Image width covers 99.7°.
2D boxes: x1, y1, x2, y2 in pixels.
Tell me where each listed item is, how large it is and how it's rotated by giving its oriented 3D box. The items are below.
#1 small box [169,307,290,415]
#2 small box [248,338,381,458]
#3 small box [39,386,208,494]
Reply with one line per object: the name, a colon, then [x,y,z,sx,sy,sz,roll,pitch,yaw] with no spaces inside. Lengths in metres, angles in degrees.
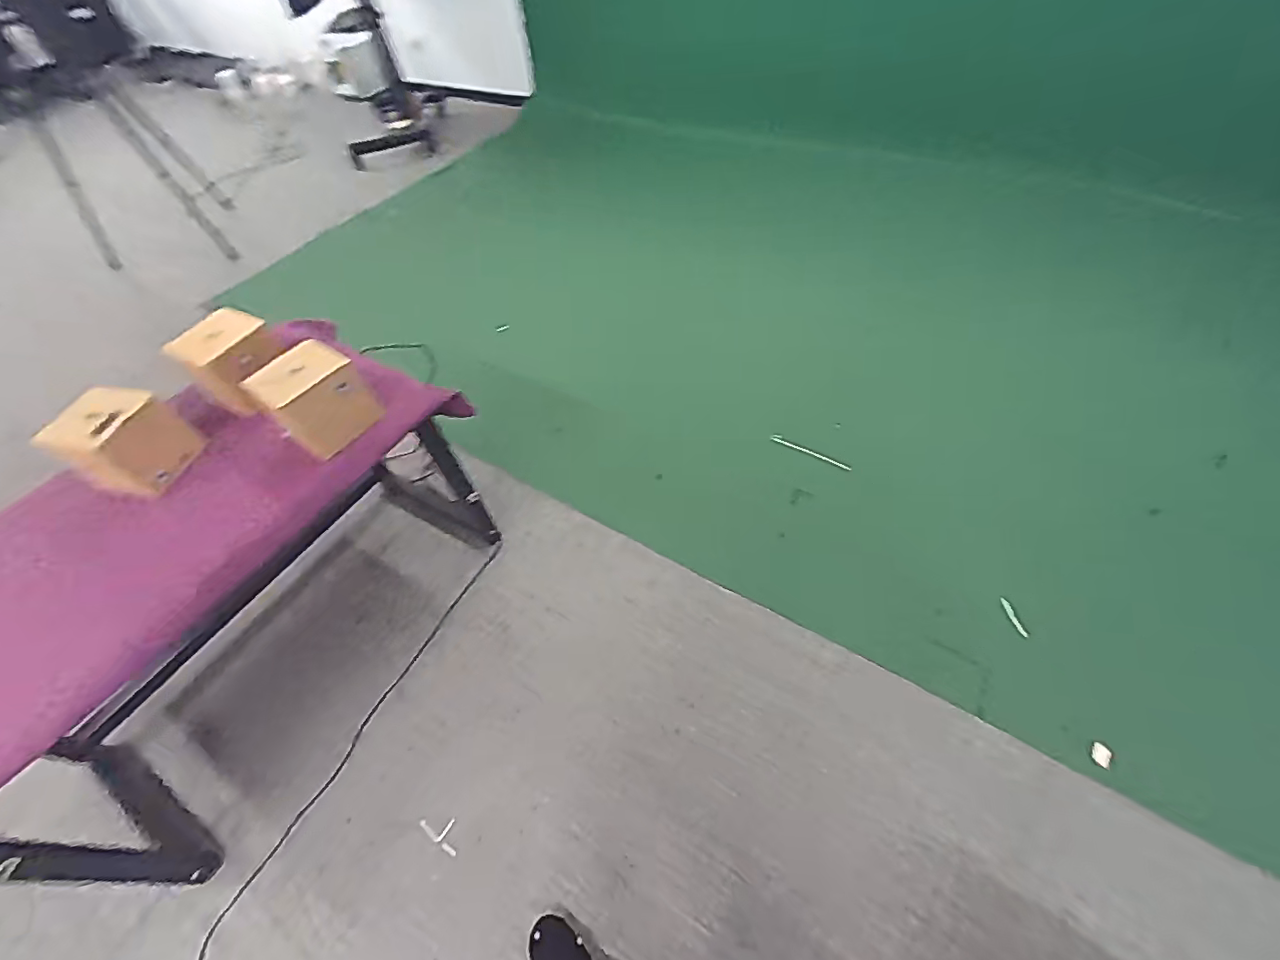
small box: [-0.994,-0.296,1.351,0.168,0.176,0.179,20,59,20]
small box: [-0.722,-0.184,1.227,0.168,0.176,0.179,28,62,27]
small box: [-1.134,-0.086,1.207,0.179,0.176,0.168,8,54,13]
